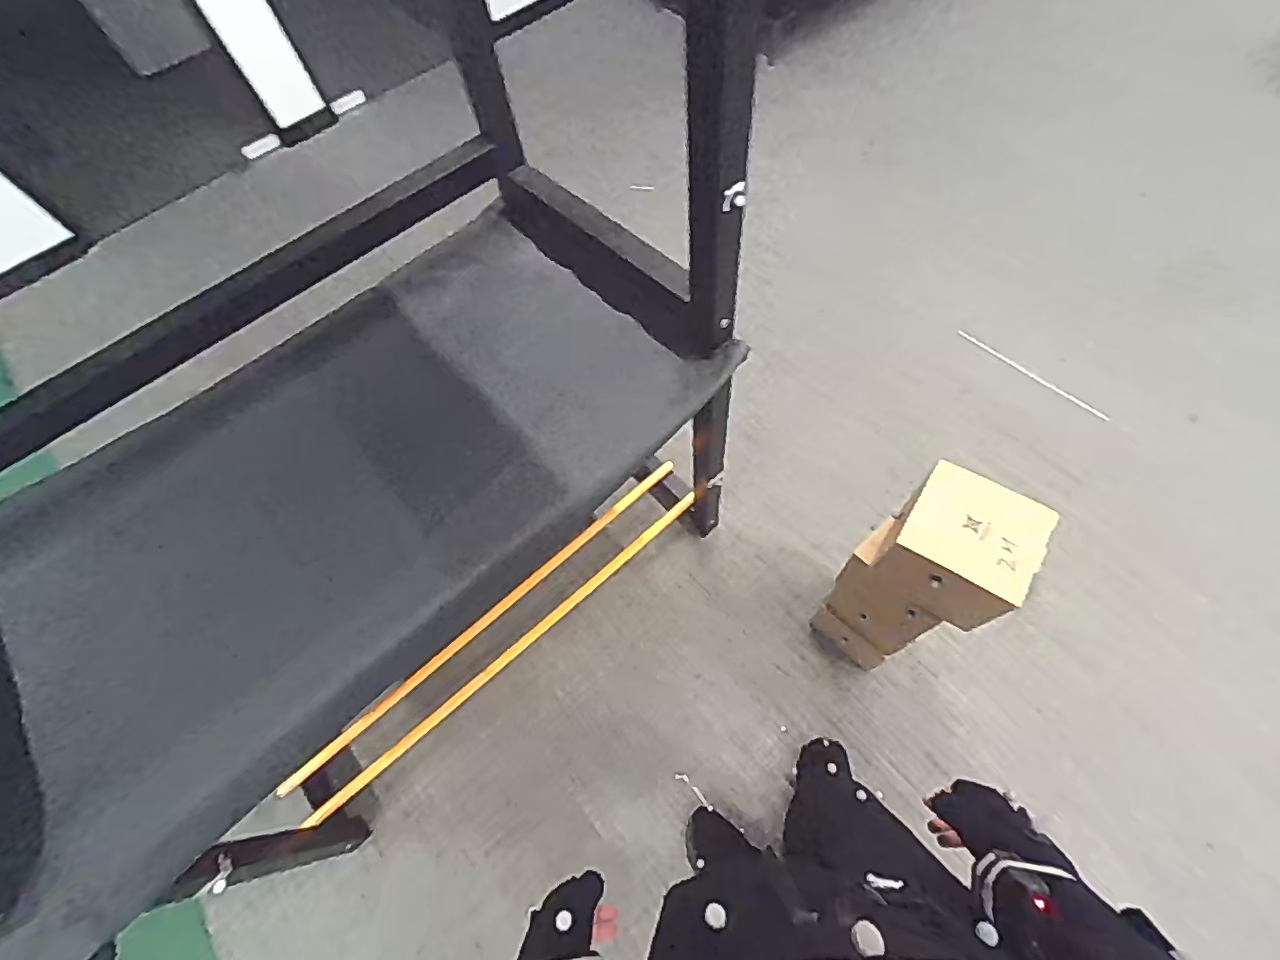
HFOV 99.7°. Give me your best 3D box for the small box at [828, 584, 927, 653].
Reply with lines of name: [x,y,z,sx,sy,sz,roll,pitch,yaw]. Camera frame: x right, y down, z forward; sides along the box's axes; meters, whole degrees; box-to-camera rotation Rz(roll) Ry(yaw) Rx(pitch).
small box: [0.528,0.243,1.138,0.168,0.176,0.179,-42,65,-15]

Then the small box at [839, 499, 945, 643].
small box: [0.496,0.173,0.994,0.168,0.176,0.179,-40,65,-13]

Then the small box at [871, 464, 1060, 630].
small box: [0.490,0.111,0.842,0.179,0.176,0.168,31,71,20]
